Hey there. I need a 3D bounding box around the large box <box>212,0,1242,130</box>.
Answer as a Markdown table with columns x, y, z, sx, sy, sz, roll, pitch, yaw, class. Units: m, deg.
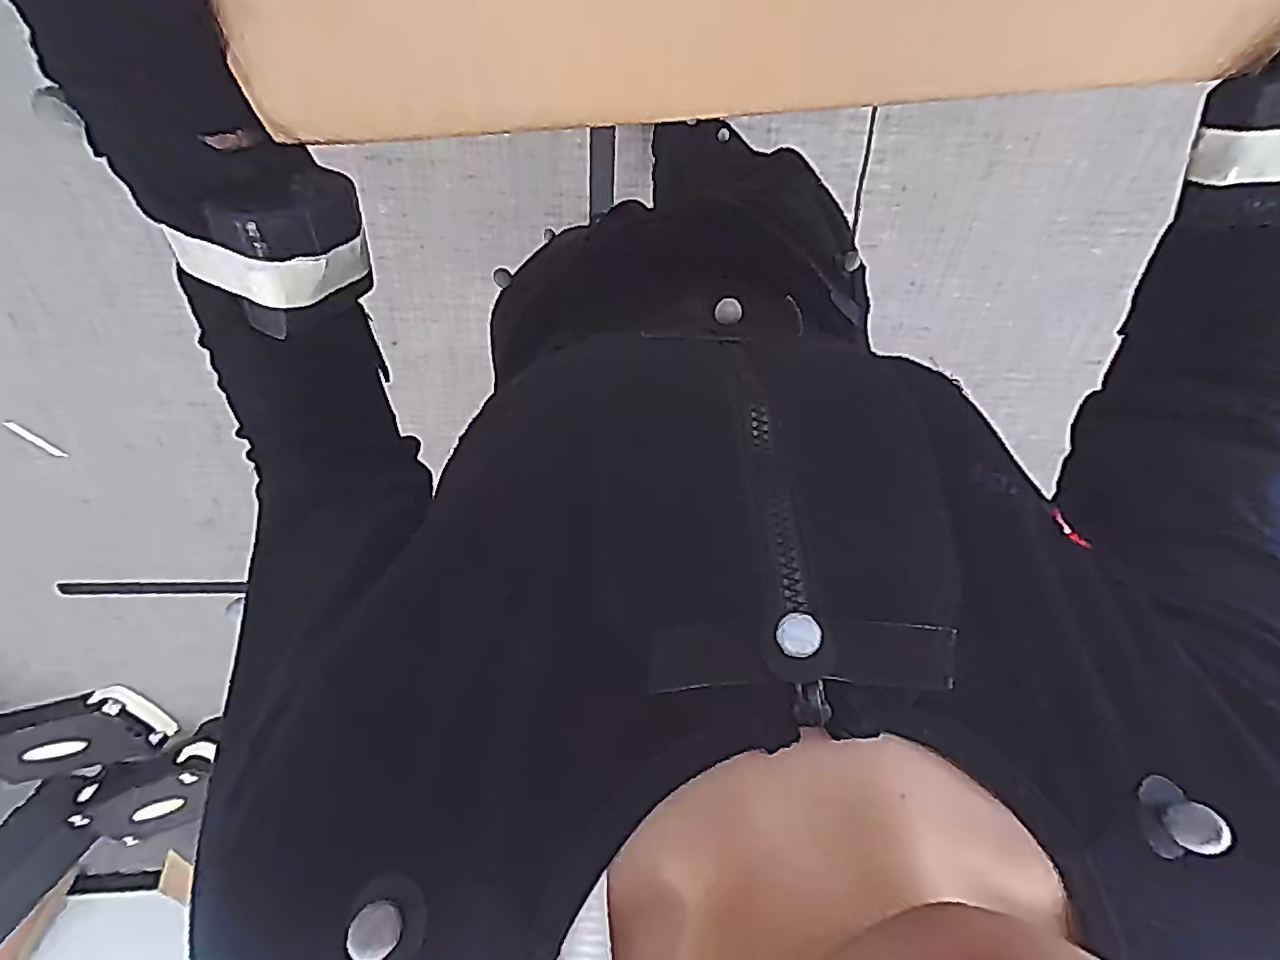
| x | y | z | sx | sy | sz | roll | pitch | yaw | class |
| --- | --- | --- | --- | --- | --- | --- | --- | --- | --- |
| 0.031 | -0.372 | 0.189 | 0.408 | 0.320 | 0.320 | -5 | 144 | -2 | large box |
